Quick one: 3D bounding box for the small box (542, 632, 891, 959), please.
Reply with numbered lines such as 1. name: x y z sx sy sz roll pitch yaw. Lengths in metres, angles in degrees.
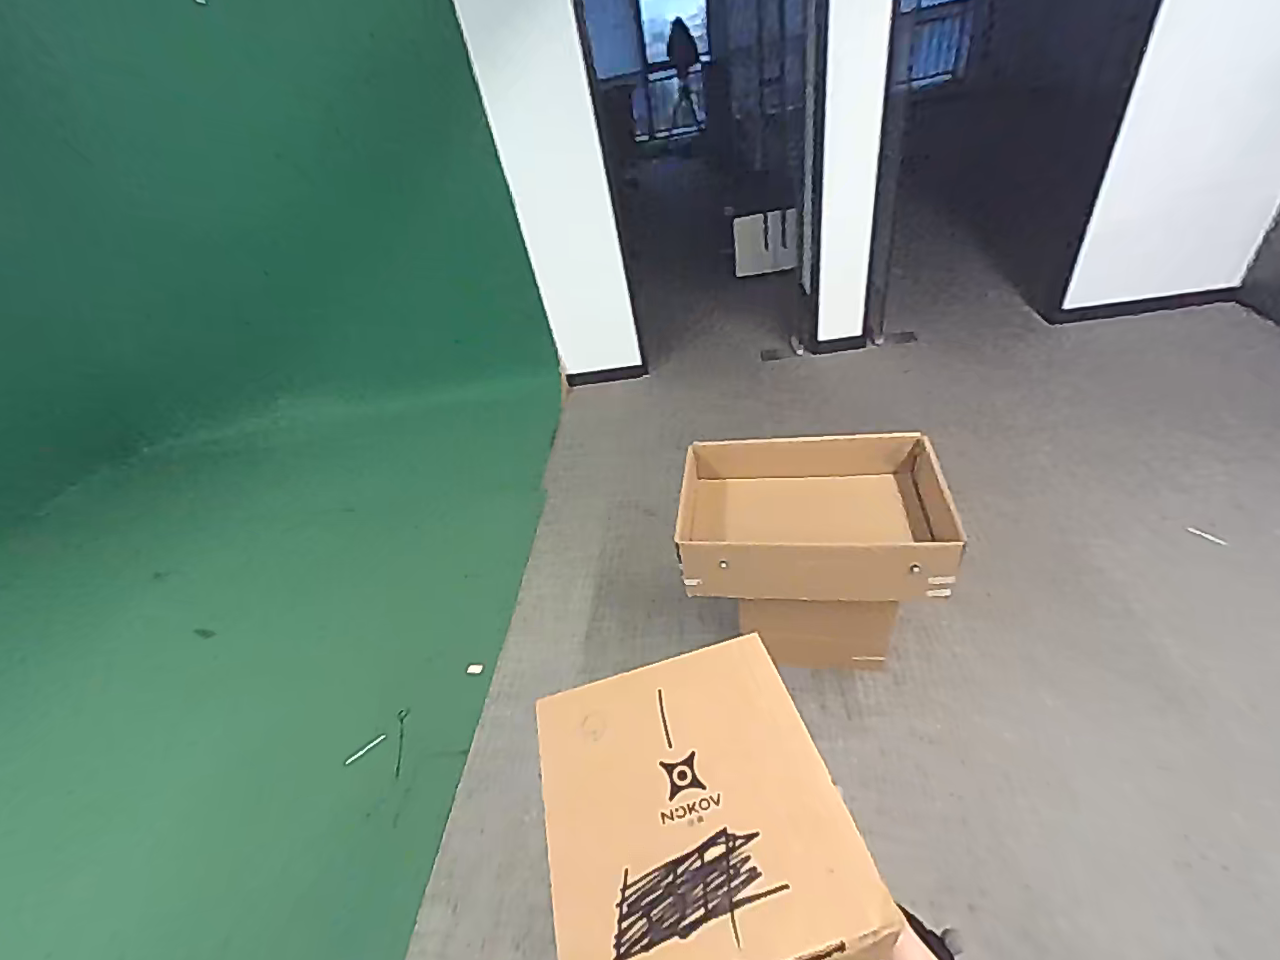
1. small box: 0.040 0.242 0.368 0.168 0.176 0.179 -15 38 -5
